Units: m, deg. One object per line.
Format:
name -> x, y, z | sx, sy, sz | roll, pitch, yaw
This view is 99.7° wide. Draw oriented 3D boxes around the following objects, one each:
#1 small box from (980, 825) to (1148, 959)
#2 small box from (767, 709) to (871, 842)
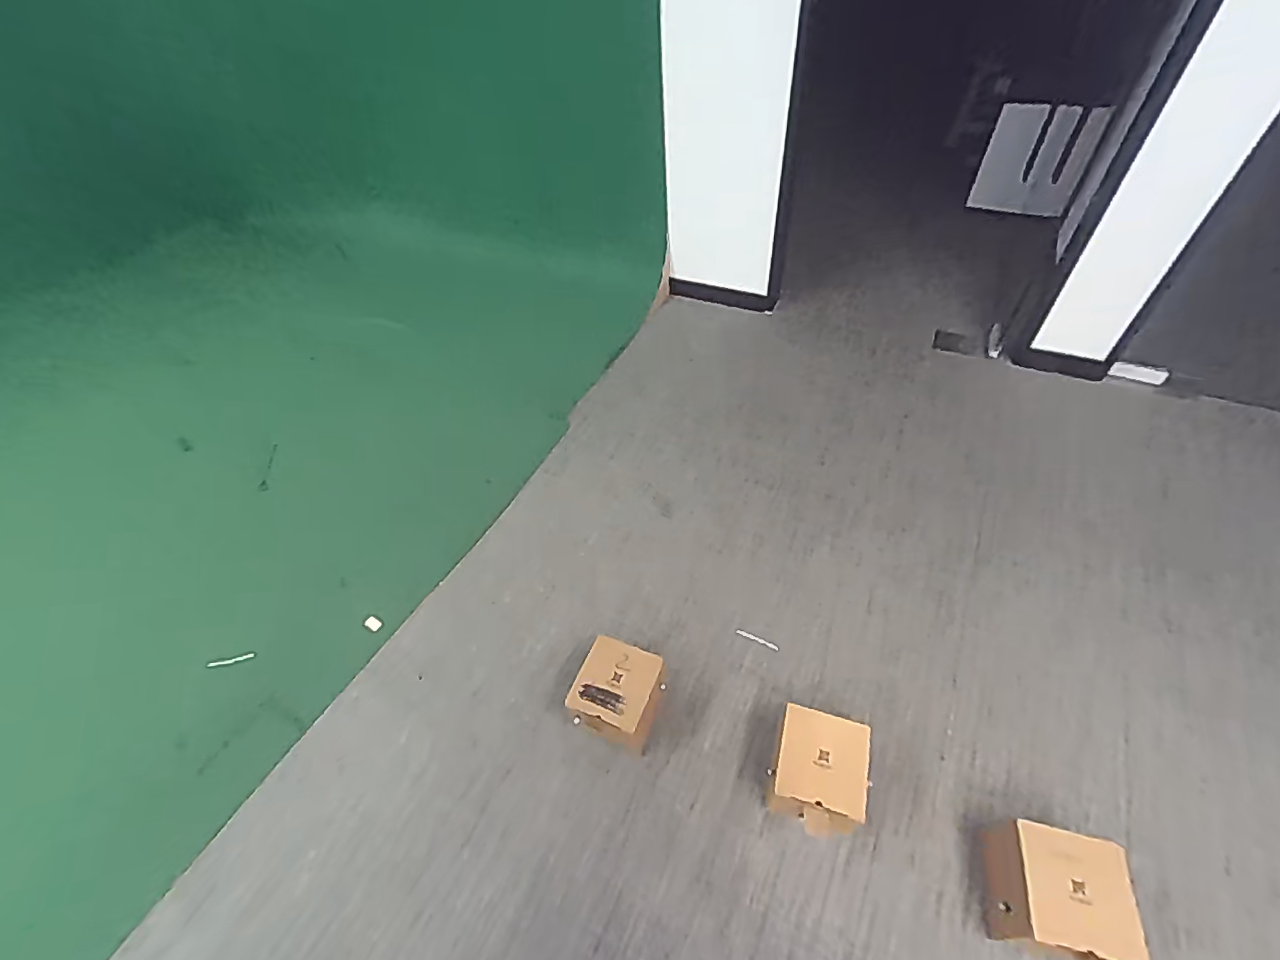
small box -> 0.724, 0.740, 0.944 | 0.168, 0.176, 0.179 | 10, 49, 12
small box -> 0.358, 0.602, 1.099 | 0.168, 0.176, 0.179 | 11, 51, 15
